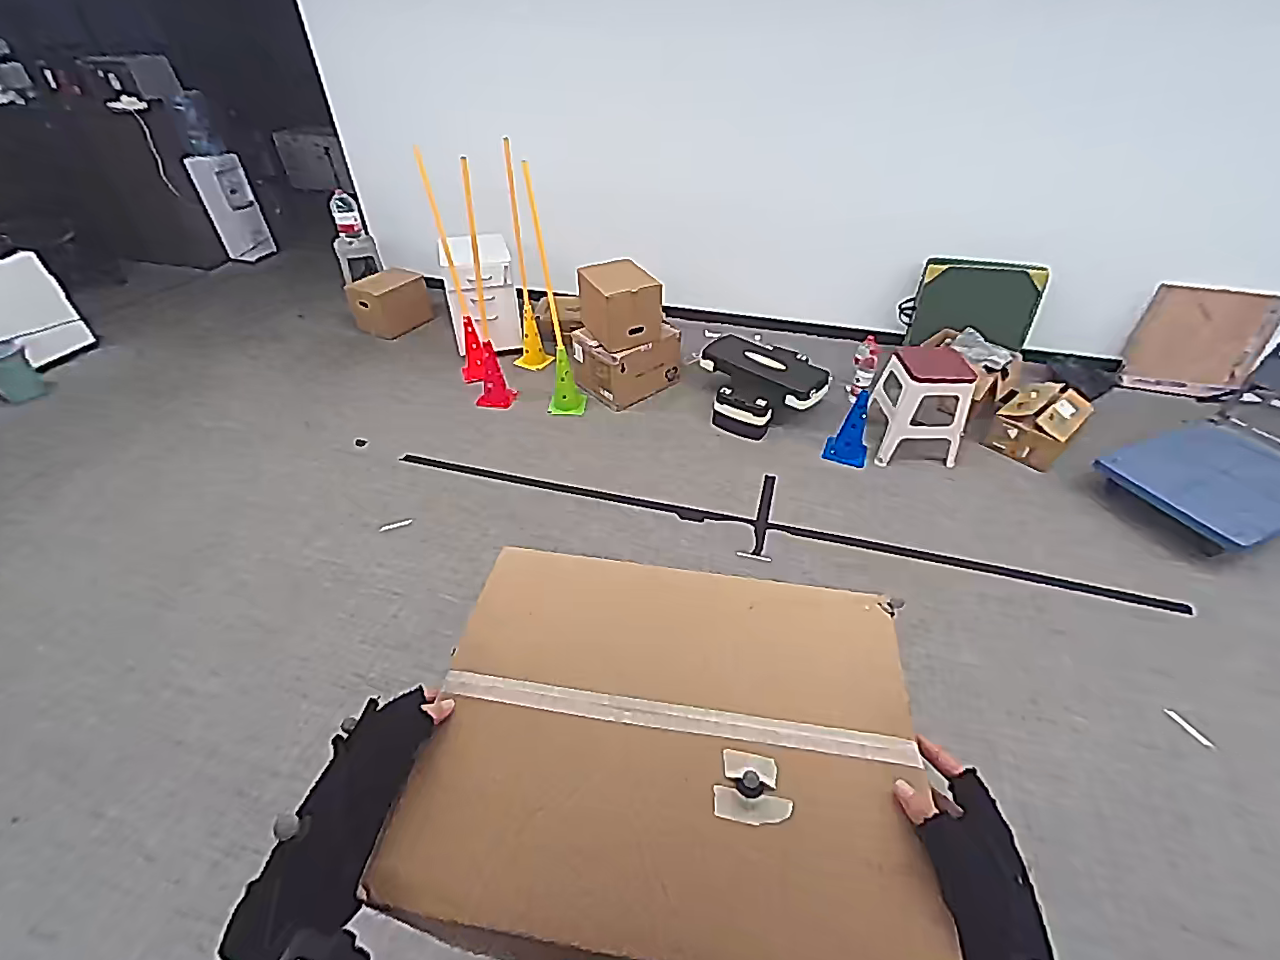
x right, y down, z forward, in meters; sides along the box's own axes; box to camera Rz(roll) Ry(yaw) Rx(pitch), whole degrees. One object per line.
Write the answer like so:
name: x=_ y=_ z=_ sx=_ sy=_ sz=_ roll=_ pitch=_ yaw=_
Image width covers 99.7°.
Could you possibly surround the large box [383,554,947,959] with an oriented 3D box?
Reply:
large box: x=0.026 y=0.314 z=0.579 sx=0.408 sy=0.320 sz=0.320 roll=7 pitch=45 yaw=6
